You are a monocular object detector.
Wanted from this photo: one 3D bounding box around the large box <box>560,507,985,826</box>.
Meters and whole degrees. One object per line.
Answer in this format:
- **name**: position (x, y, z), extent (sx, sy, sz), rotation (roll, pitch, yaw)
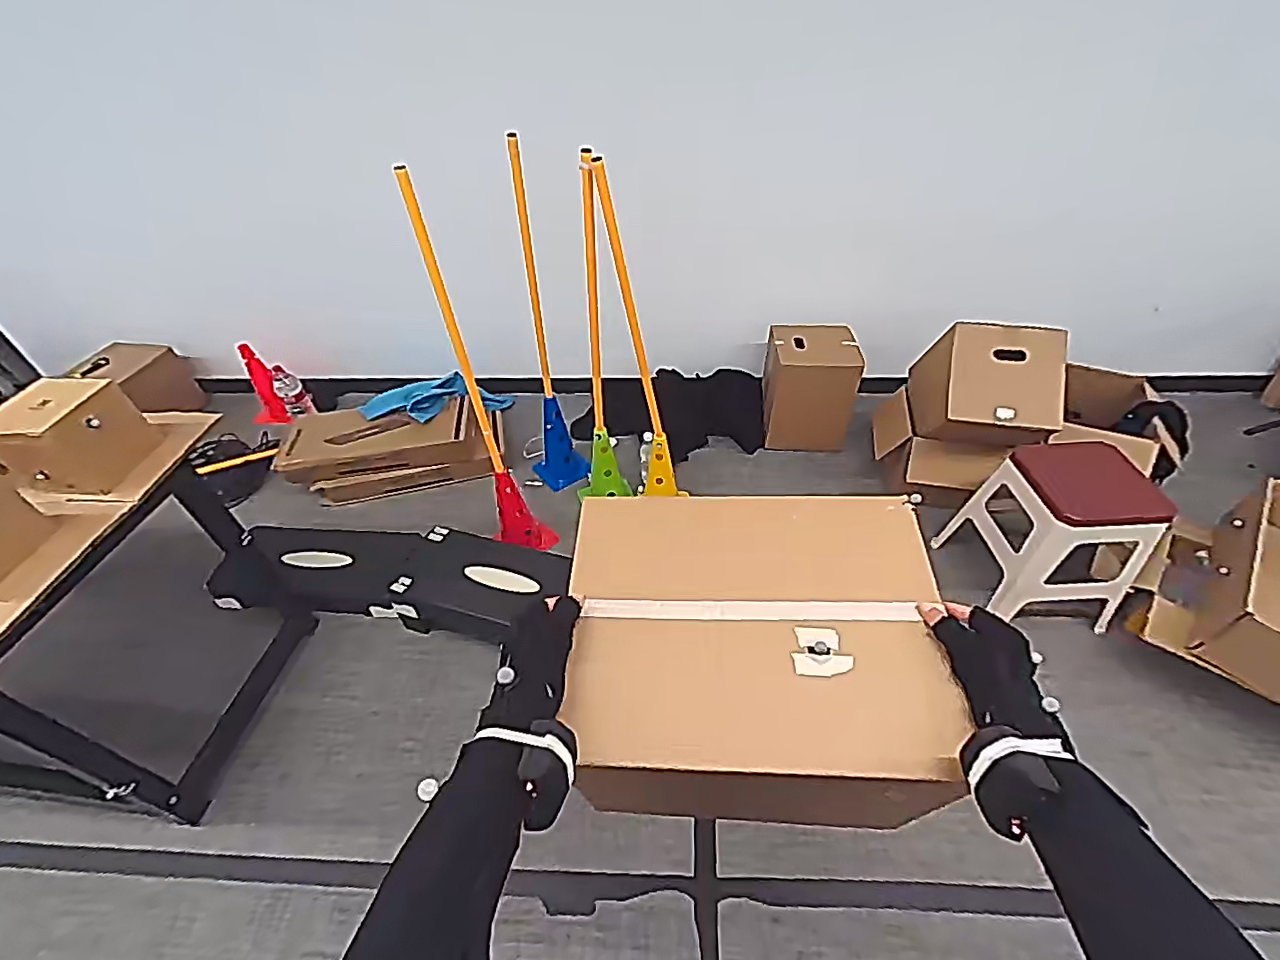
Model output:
- **large box**: position (0.134, 0.250, 0.712), extent (0.408, 0.320, 0.320), rotation (-1, 51, 5)
